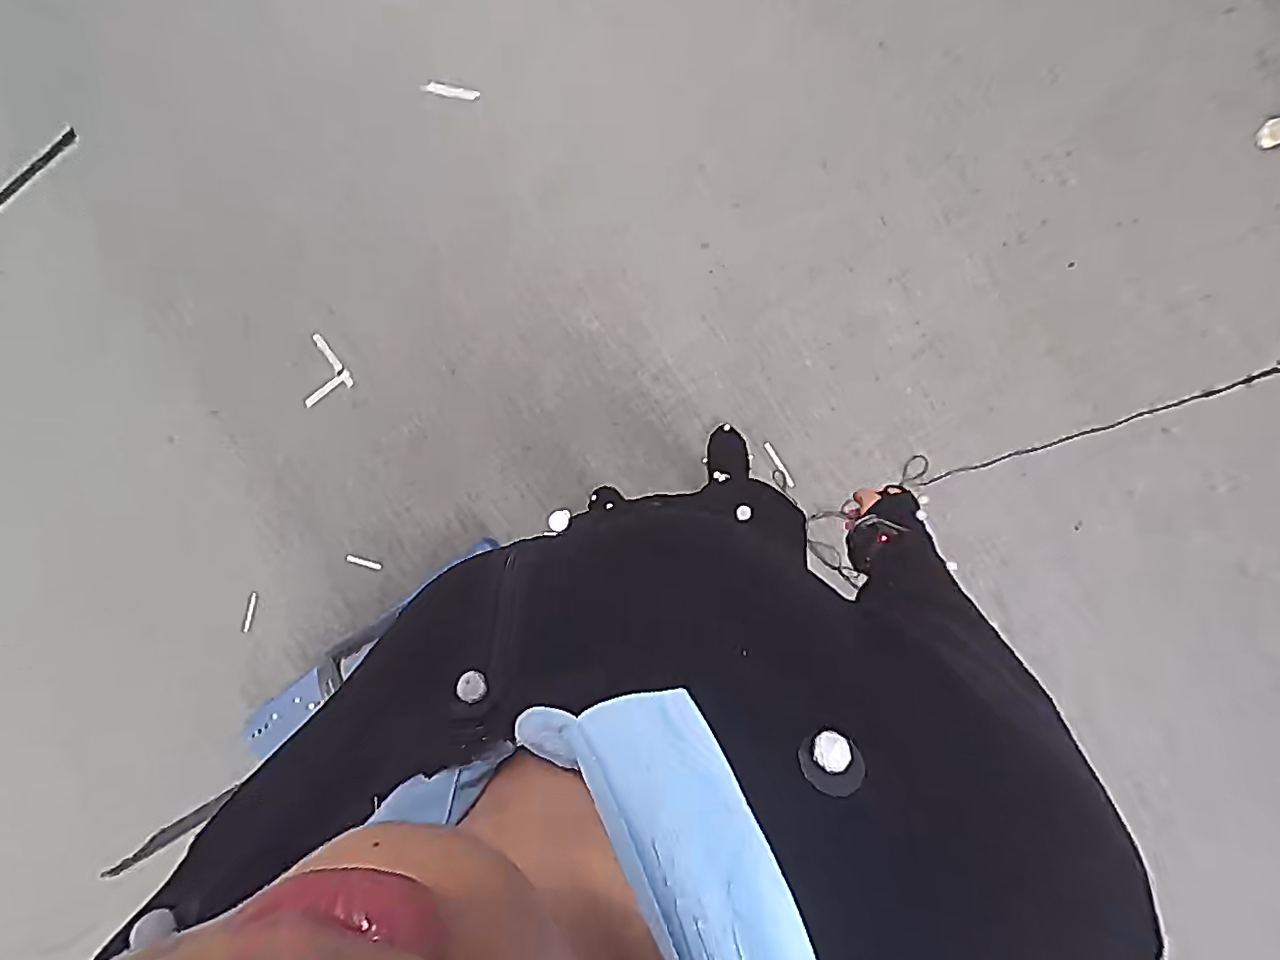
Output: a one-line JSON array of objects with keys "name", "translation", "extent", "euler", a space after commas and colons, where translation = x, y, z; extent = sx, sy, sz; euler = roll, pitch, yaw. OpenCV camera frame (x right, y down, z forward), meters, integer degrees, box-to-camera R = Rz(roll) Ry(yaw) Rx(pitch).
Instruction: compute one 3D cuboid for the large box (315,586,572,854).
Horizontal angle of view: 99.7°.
[{"name": "large box", "translation": [-0.418, 0.521, 1.245], "extent": [0.320, 0.320, 0.408], "euler": [-37, 90, 5]}]
